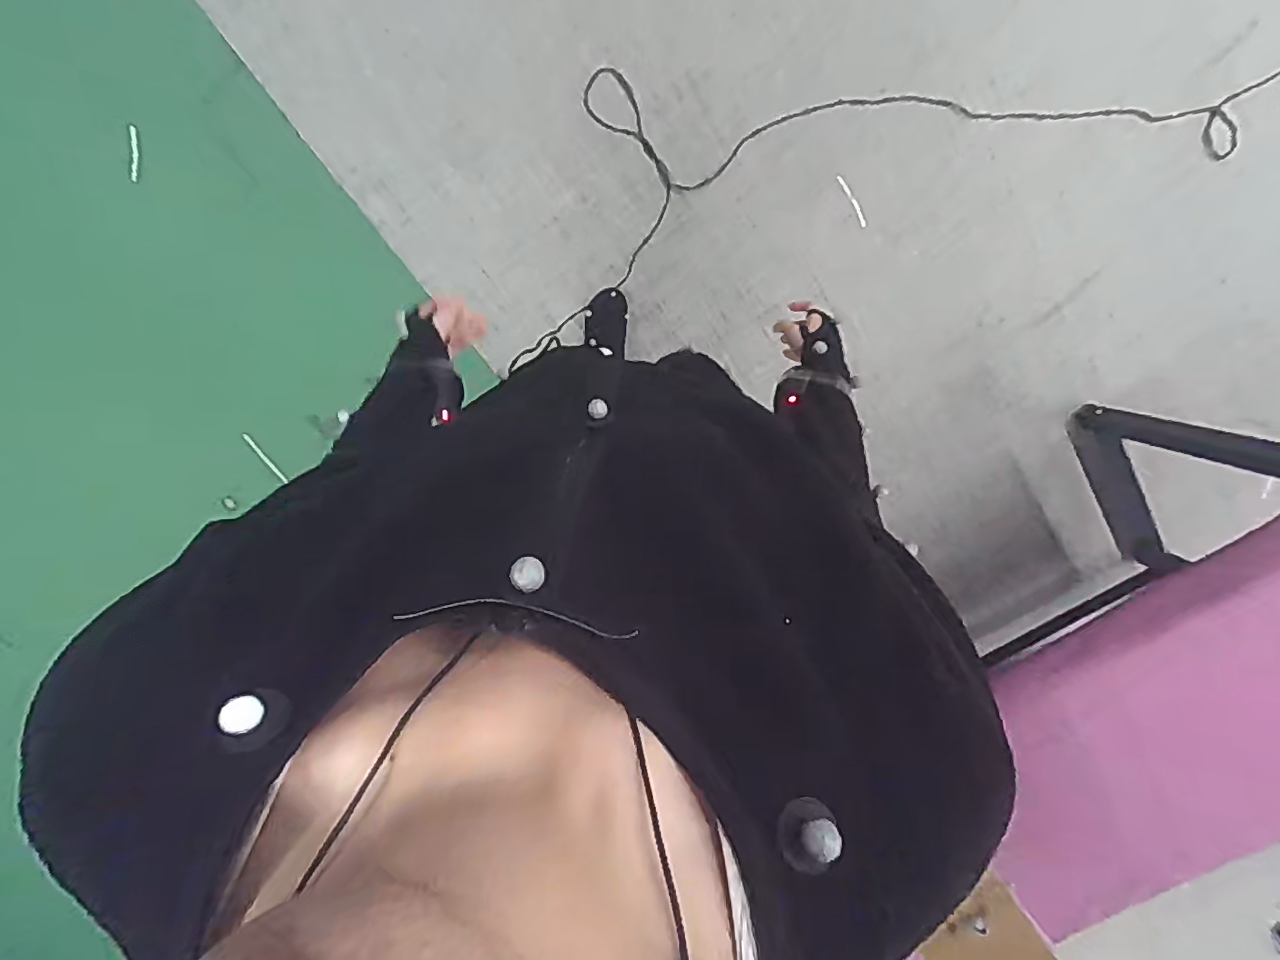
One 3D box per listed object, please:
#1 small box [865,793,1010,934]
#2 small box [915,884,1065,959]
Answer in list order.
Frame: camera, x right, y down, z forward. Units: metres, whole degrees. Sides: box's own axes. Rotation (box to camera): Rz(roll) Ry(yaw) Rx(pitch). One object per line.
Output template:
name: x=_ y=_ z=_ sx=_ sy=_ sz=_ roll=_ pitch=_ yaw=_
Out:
small box: x=0.526 y=0.687 z=0.928 sx=0.168 sy=0.176 sz=0.179 roll=-34 pitch=106 yaw=7
small box: x=0.540 y=0.735 z=0.773 sx=0.168 sy=0.176 sz=0.179 roll=-37 pitch=107 yaw=7
